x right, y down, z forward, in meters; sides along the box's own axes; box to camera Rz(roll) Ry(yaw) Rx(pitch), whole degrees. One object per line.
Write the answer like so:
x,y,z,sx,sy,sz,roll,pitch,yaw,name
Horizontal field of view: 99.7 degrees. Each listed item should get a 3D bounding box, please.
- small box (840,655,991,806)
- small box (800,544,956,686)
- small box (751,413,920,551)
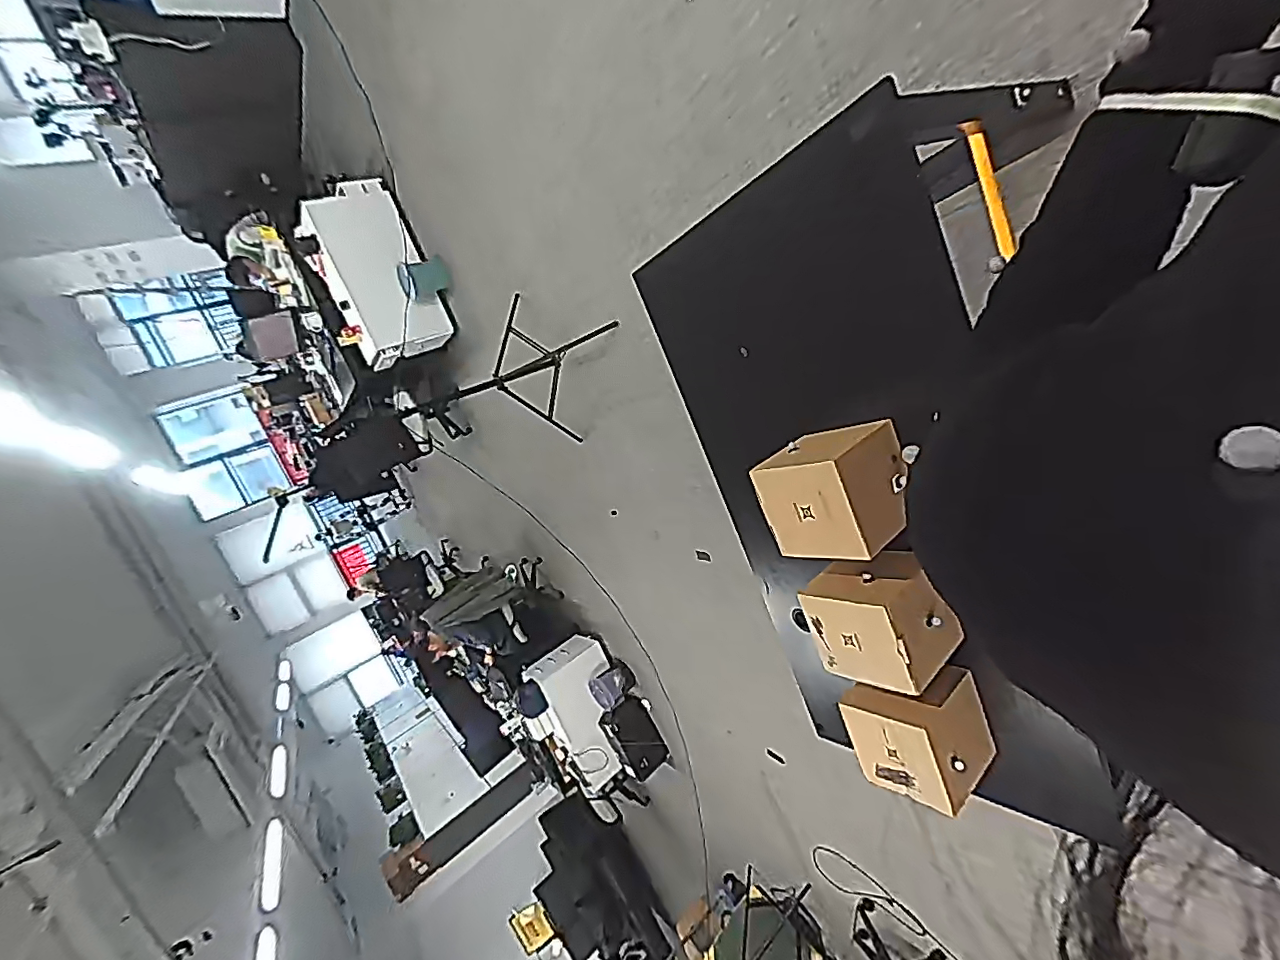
0.503,0.432,0.984,0.168,0.176,0.179,-8,108,57,small box
0.418,0.221,0.938,0.179,0.176,0.168,-8,107,57,small box
0.325,0.005,0.901,0.179,0.176,0.168,-10,108,57,small box
